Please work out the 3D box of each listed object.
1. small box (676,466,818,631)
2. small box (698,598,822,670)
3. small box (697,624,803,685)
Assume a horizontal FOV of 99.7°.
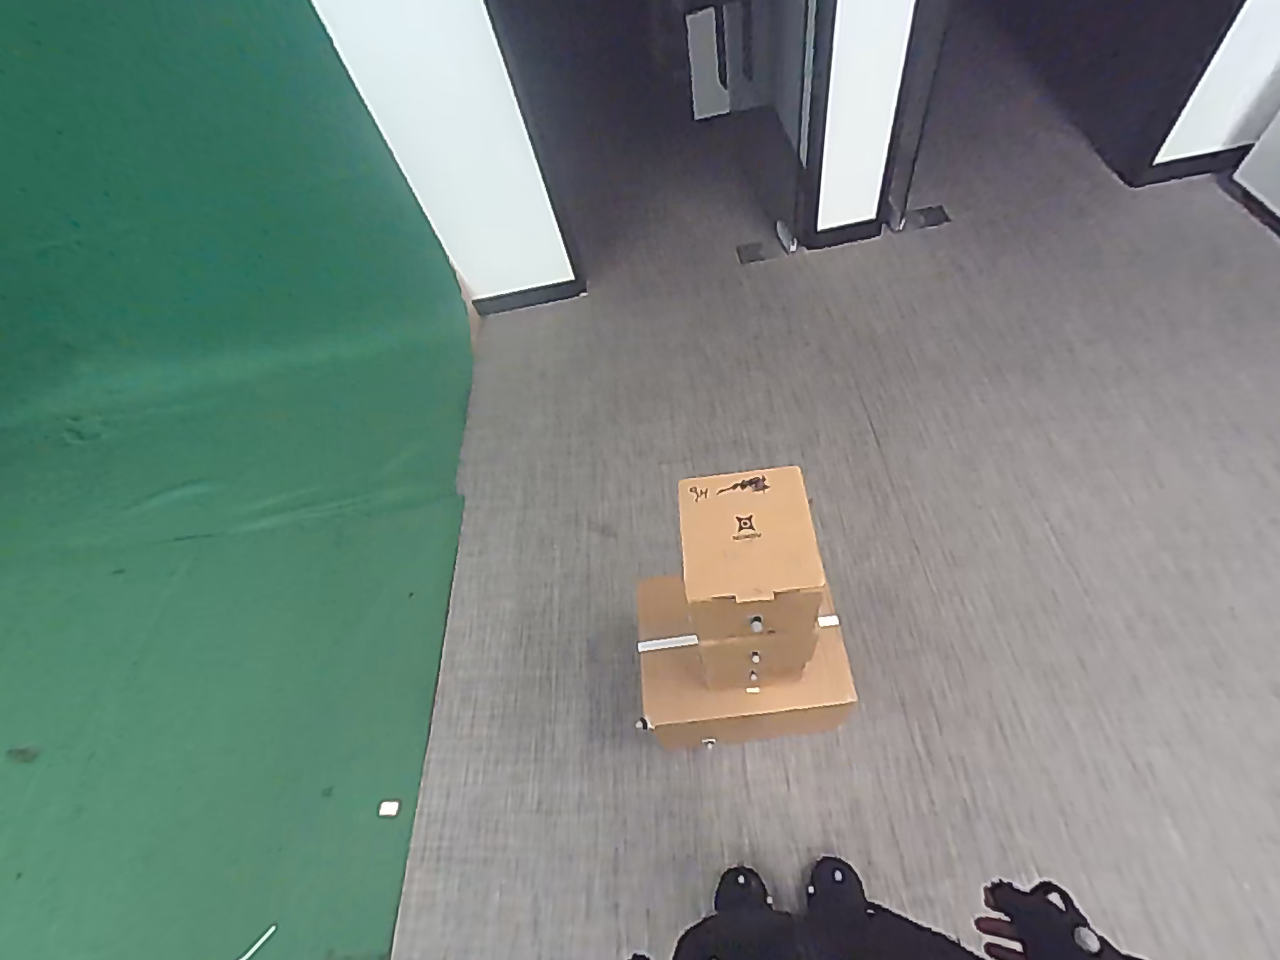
[{"bbox_3d":[0.145,0.104,0.750,0.168,0.176,0.179,-6,58,9],"label":"small box"},{"bbox_3d":[0.177,0.199,0.880,0.179,0.176,0.168,-11,57,5],"label":"small box"},{"bbox_3d":[0.200,0.281,1.020,0.179,0.176,0.168,-7,57,6],"label":"small box"}]
